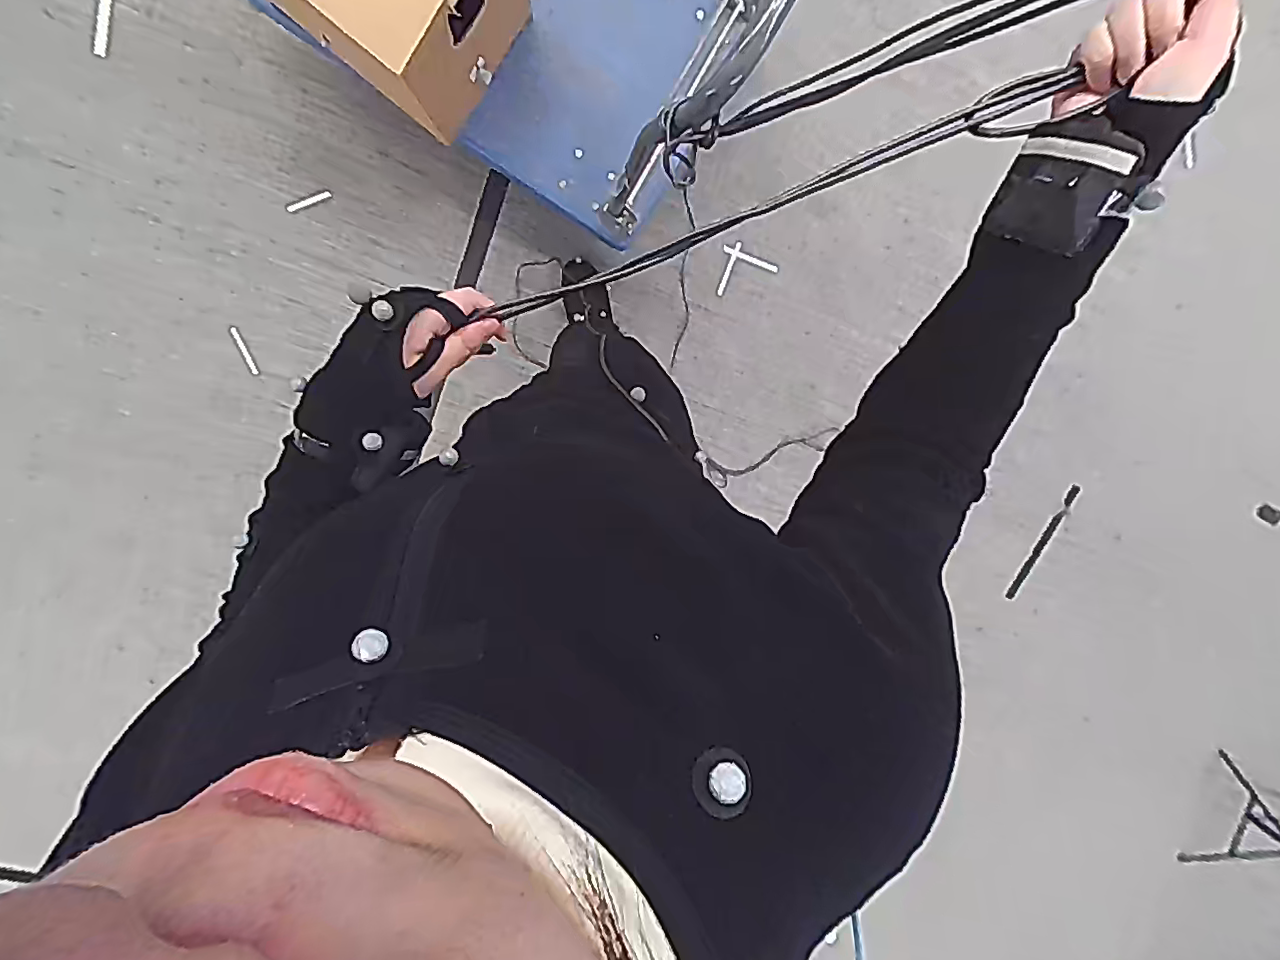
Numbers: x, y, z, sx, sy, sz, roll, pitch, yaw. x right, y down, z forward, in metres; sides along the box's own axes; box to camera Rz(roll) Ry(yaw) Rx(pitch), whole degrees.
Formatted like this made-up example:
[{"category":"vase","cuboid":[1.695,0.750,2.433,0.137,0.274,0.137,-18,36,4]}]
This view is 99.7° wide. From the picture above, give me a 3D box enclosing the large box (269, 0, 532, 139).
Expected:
[{"category":"large box","cuboid":[-0.440,-0.875,0.891,0.408,0.320,0.320,35,98,-13]}]
